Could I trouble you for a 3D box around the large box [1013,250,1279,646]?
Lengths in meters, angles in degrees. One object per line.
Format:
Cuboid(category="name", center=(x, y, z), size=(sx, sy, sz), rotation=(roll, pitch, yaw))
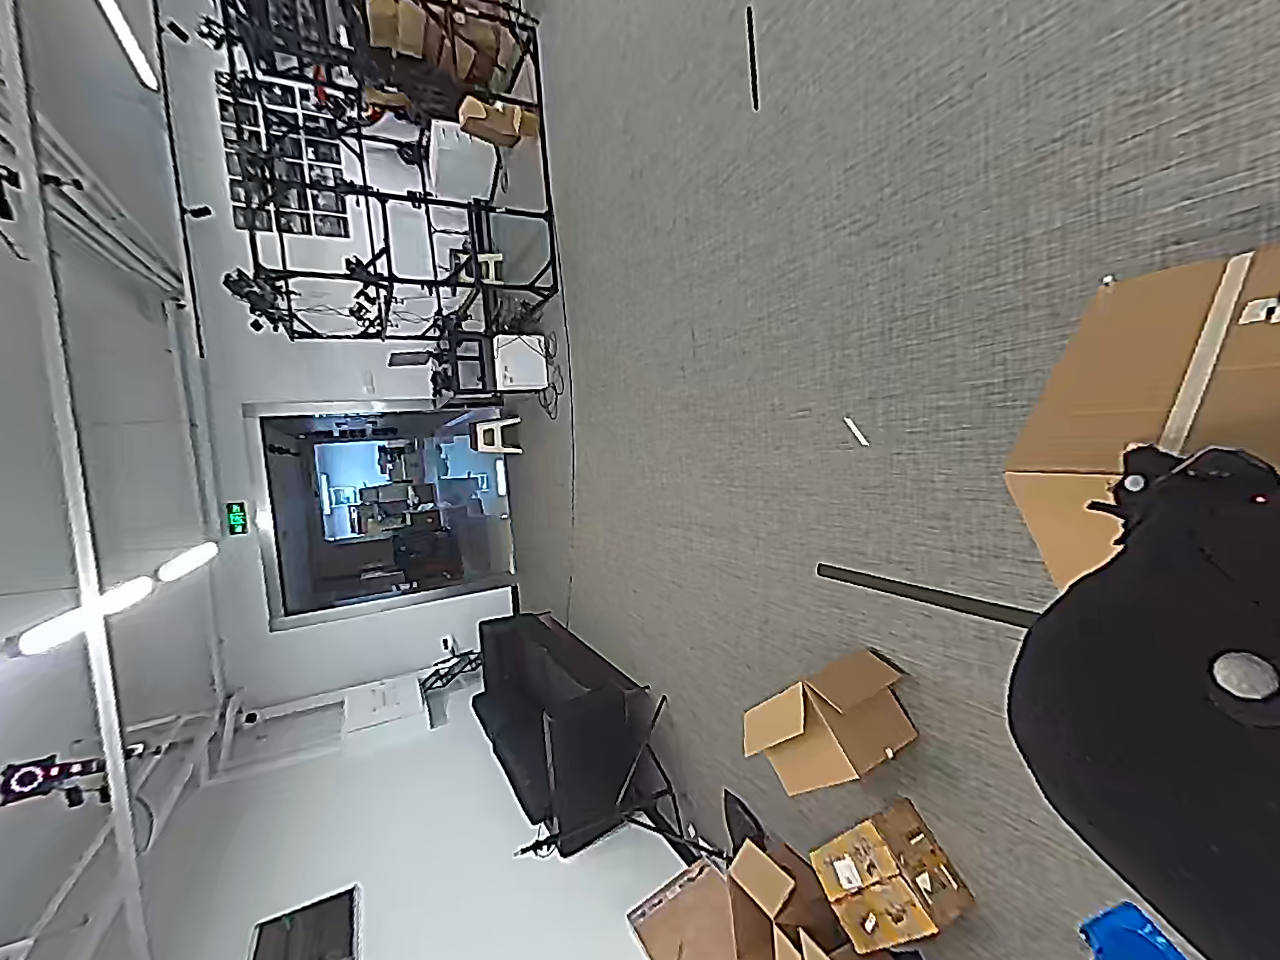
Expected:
Cuboid(category="large box", center=(0.773, -0.044, 0.706), size=(0.320, 0.408, 0.320), rotation=(50, 158, -24))
